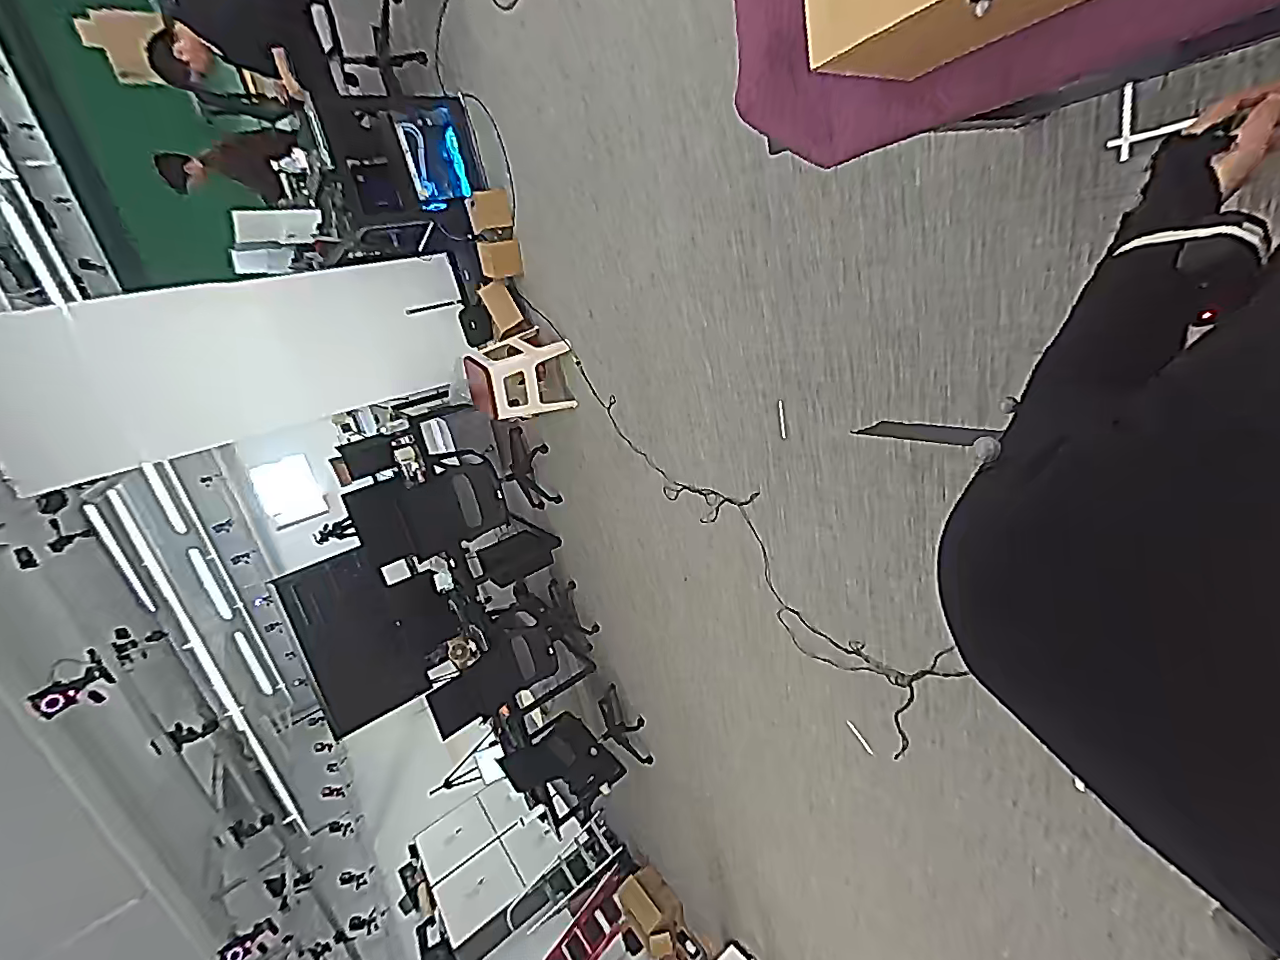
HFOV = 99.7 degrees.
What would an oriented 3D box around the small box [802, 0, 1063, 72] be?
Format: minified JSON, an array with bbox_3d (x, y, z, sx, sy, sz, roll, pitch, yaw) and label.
[{"bbox_3d":[0.256,-0.475,0.456,0.179,0.176,0.168,13,121,53],"label":"small box"}]
